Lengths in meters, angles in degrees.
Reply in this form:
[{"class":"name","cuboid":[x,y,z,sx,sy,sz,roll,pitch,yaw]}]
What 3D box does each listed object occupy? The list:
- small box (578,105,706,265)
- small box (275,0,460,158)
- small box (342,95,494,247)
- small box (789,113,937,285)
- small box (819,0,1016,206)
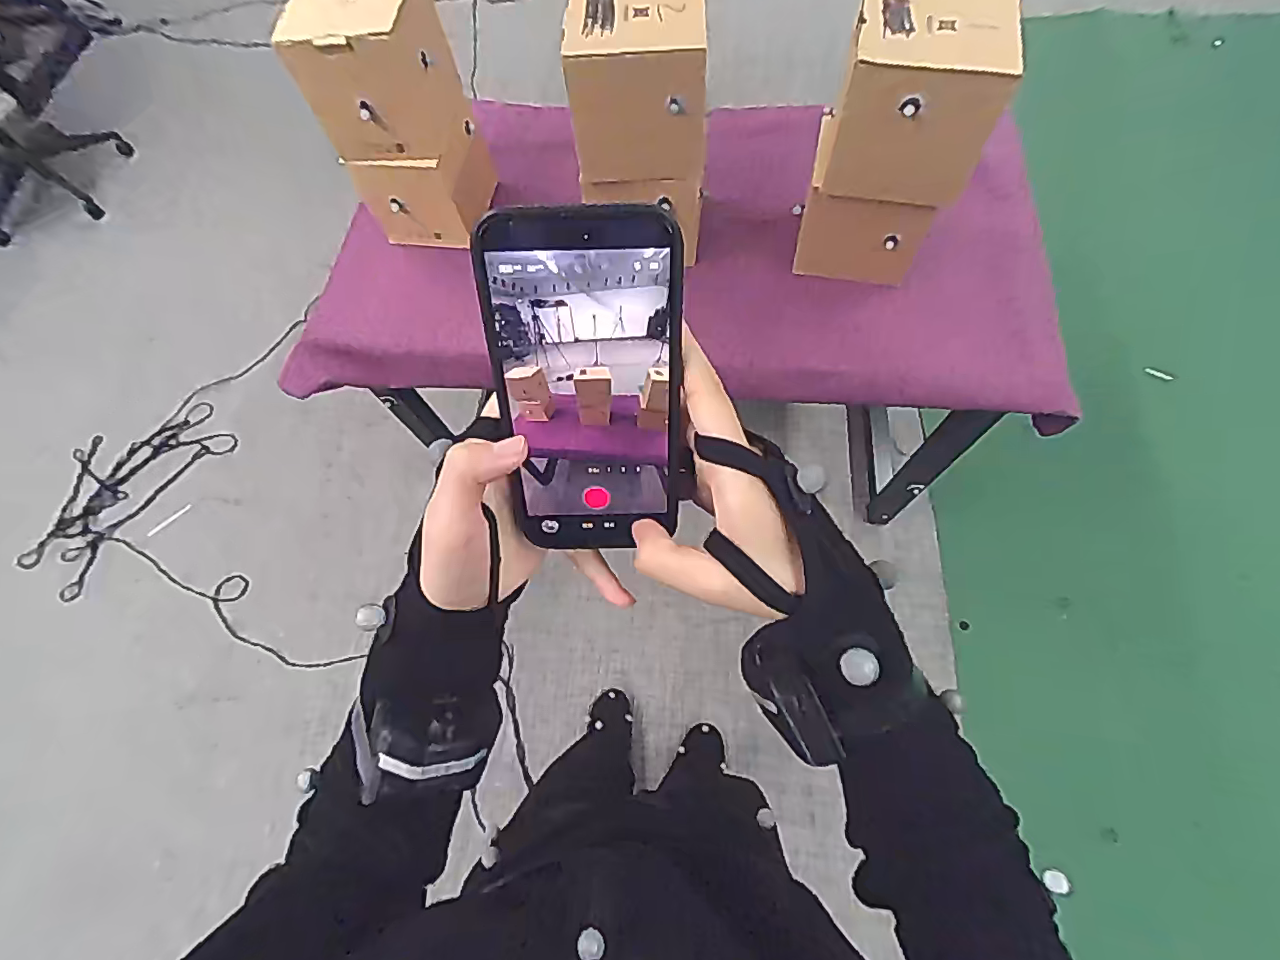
[{"class":"small box","cuboid":[0.010,-0.477,0.890,0.179,0.176,0.168,6,68,7]},{"class":"small box","cuboid":[-0.384,-0.606,0.798,0.168,0.176,0.179,2,68,5]},{"class":"small box","cuboid":[-0.372,-0.534,0.946,0.168,0.176,0.179,6,68,7]},{"class":"small box","cuboid":[0.345,-0.430,0.845,0.179,0.176,0.168,11,68,10]},{"class":"small box","cuboid":[0.339,-0.479,0.688,0.179,0.176,0.168,11,68,9]}]
